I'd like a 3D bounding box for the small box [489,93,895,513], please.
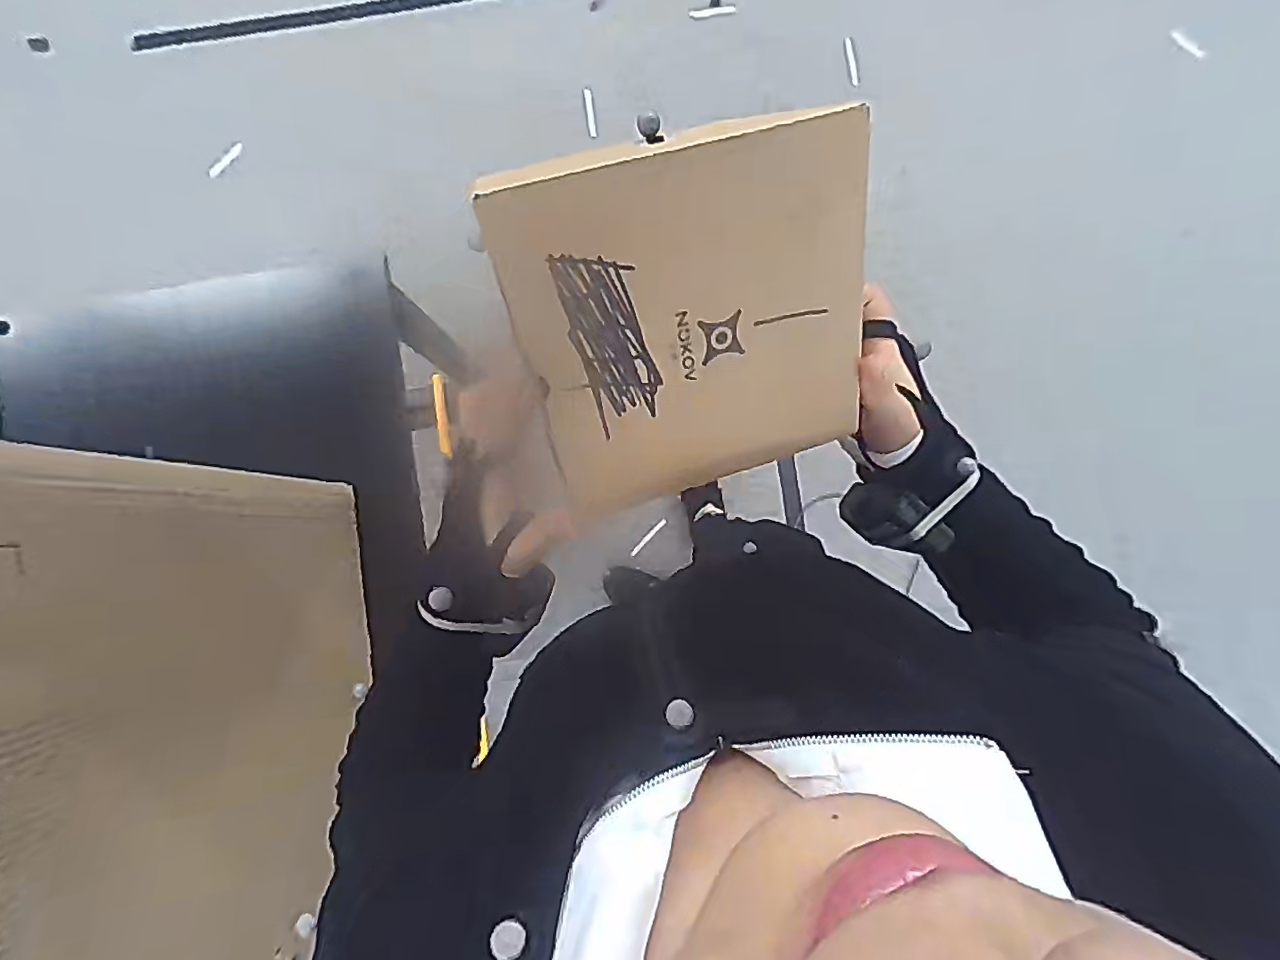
[{"bbox_3d":[0.020,-0.110,0.326,0.179,0.176,0.168,-17,123,-6],"label":"small box"}]
